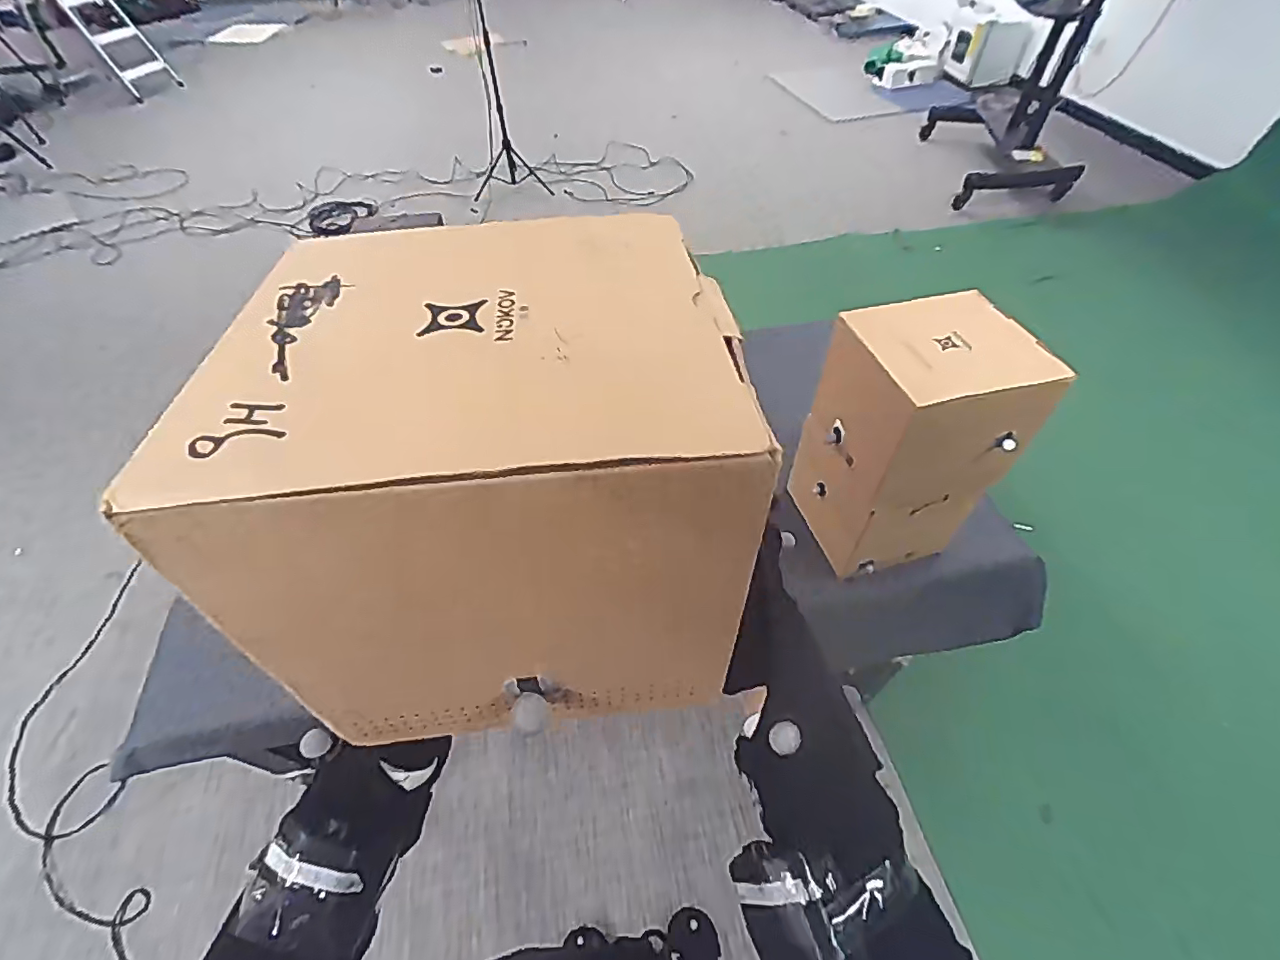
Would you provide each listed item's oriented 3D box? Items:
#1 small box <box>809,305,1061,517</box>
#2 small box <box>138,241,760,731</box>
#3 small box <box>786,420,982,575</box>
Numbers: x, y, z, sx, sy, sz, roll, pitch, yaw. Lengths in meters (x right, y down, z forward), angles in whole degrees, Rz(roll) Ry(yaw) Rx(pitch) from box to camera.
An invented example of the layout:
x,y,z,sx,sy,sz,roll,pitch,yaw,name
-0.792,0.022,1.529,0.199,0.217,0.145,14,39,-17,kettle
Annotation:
x,y,z,sx,sy,sz,roll,pitch,yaw,name
0.326,-0.079,0.643,0.179,0.176,0.168,-12,49,-6,small box
-0.060,0.002,0.264,0.179,0.176,0.168,-5,45,-6,small box
0.329,0.018,0.772,0.168,0.176,0.179,-13,50,-9,small box
